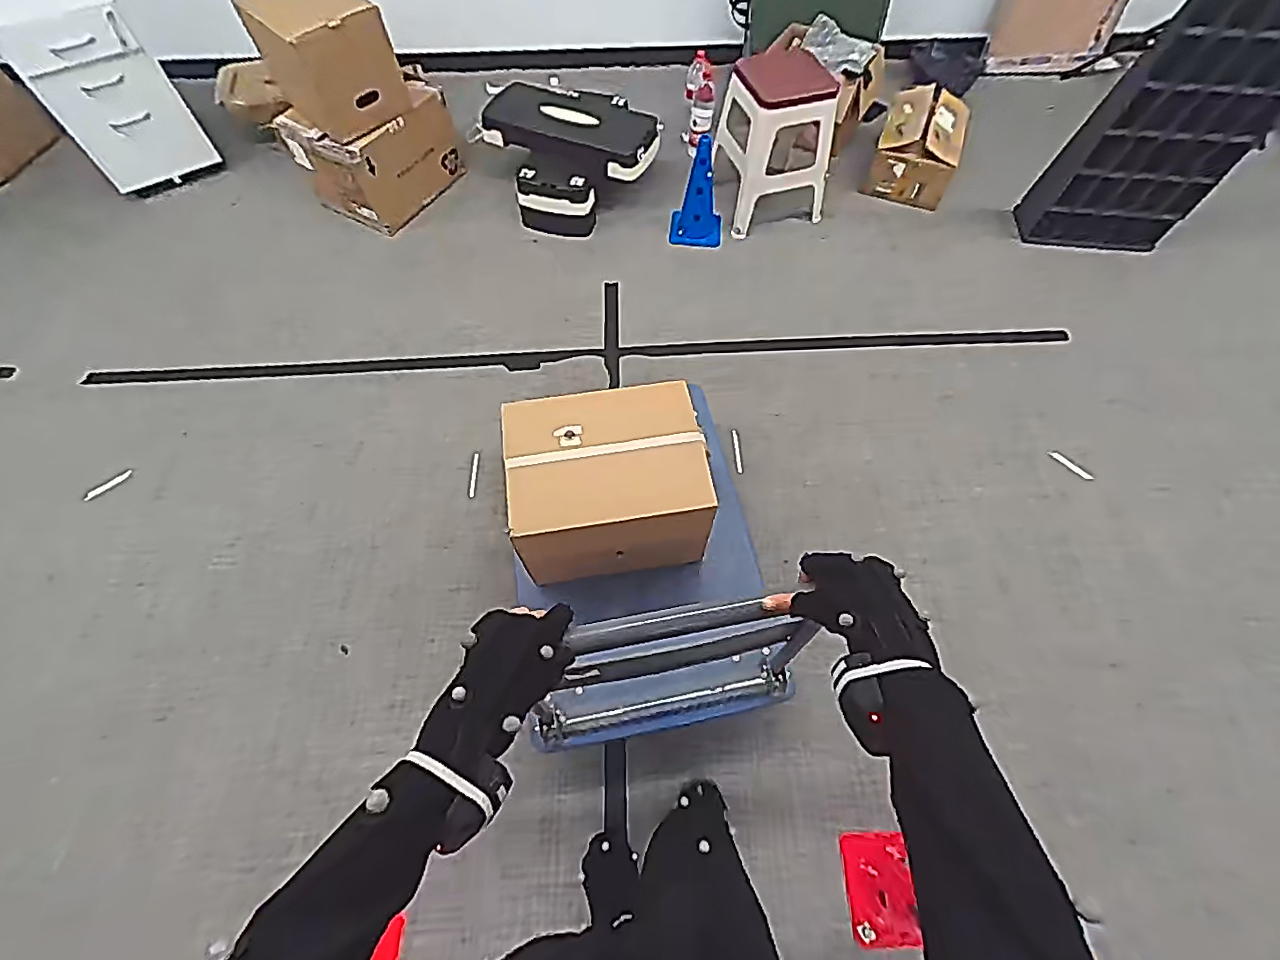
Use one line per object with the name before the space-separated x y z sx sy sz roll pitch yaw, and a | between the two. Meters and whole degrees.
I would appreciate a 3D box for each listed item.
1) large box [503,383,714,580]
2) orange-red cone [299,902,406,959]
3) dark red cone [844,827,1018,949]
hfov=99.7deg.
large box | -0.072 0.016 1.243 0.408 0.320 0.320 -8 63 -4
orange-red cone | -0.586 0.892 0.935 0.198 0.360 0.199 5 60 2
dark red cone | 0.541 0.764 0.977 0.201 0.394 0.202 -1 62 -3
